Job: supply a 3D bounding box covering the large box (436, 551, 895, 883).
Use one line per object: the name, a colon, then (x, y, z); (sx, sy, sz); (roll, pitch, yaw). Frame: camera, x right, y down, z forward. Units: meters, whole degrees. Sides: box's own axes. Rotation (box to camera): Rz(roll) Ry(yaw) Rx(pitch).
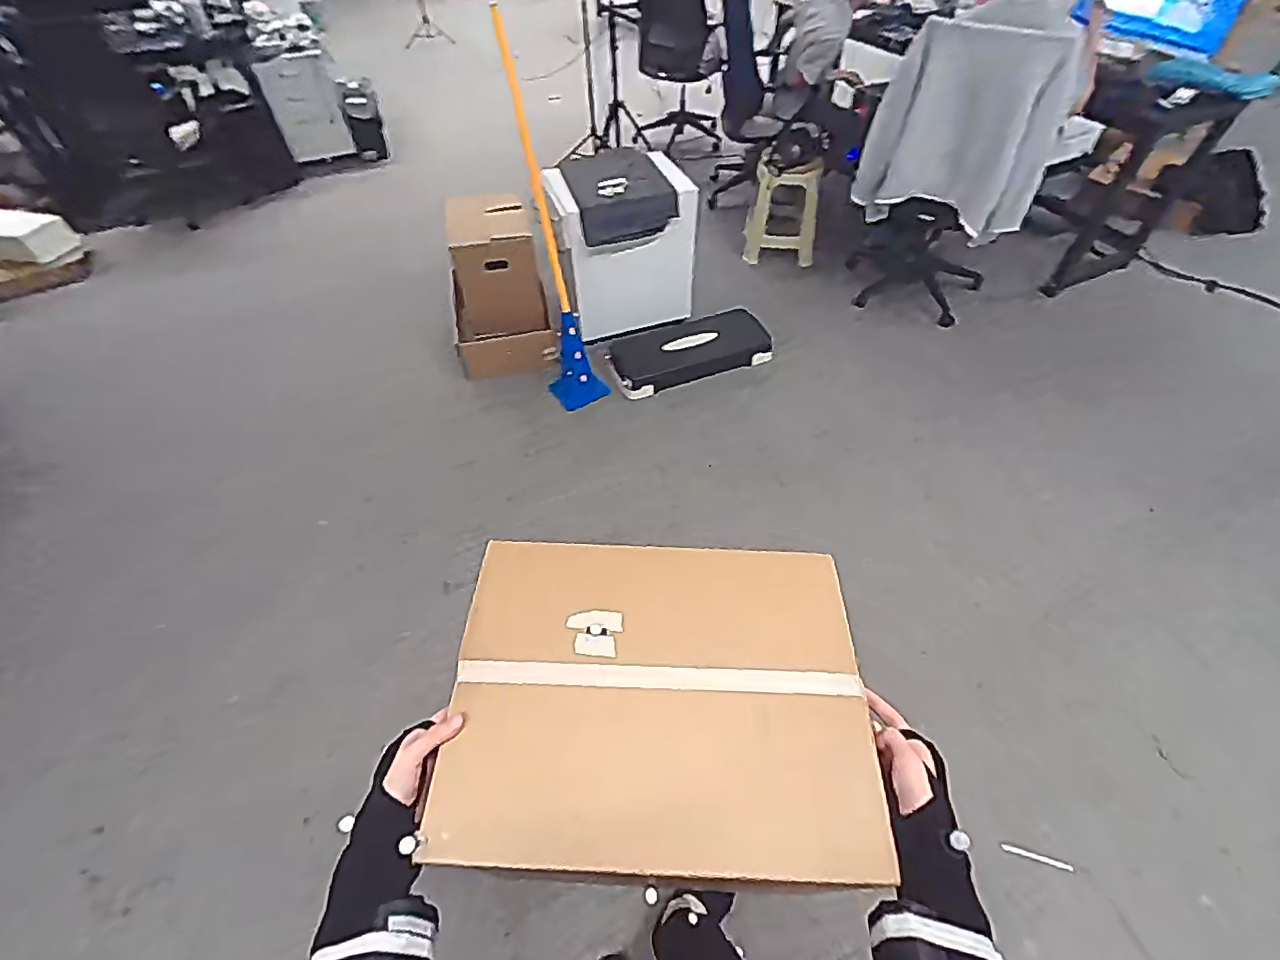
large box: (0.028, 0.301, 0.670); (0.408, 0.320, 0.320); (2, 51, 2)
